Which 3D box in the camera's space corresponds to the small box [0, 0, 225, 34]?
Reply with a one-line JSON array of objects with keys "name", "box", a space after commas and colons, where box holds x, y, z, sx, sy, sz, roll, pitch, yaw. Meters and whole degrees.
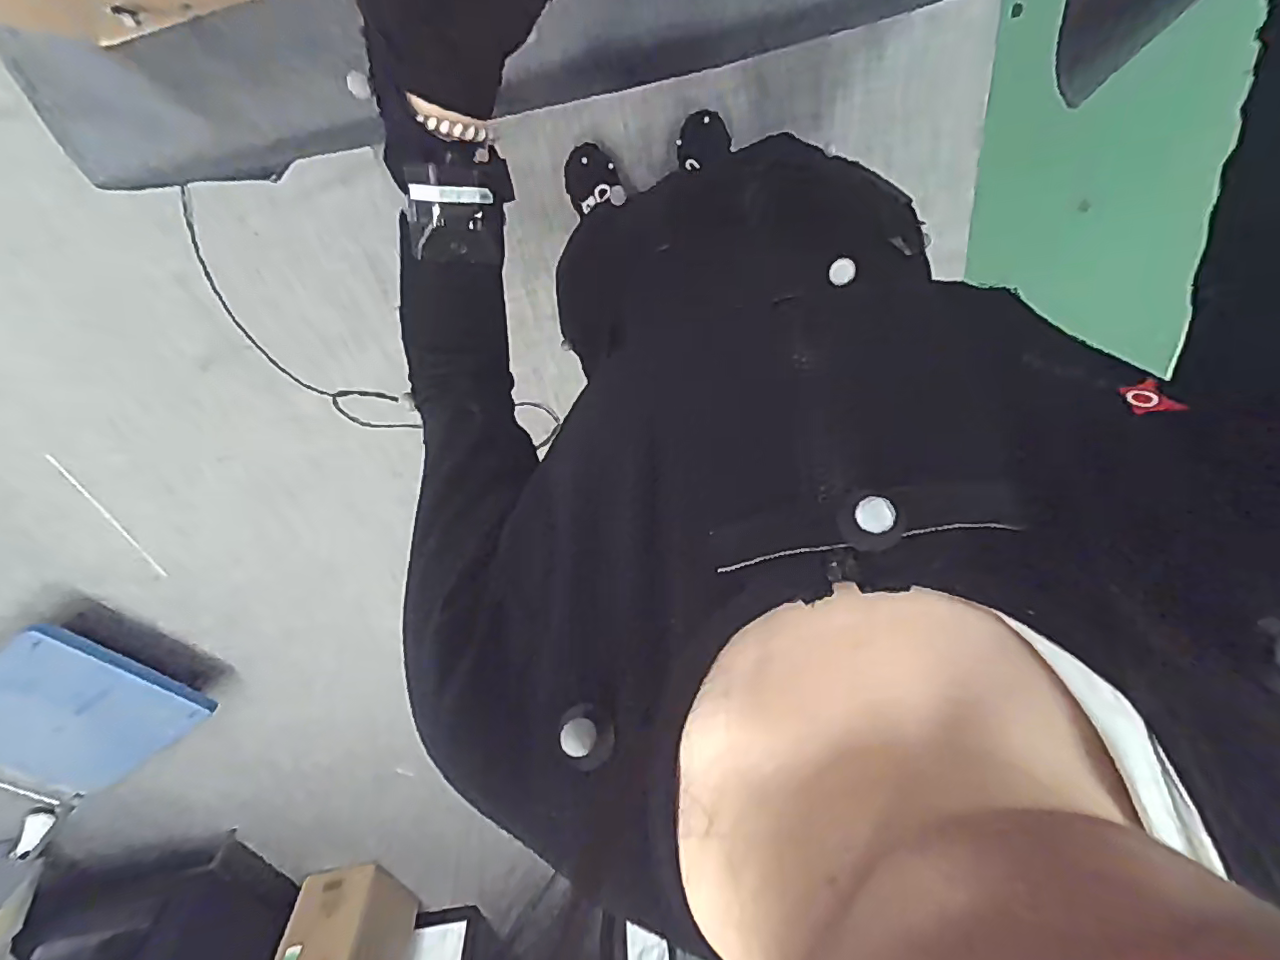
[{"name": "small box", "box": [-0.428, -0.448, 0.372, 0.168, 0.176, 0.179, -14, 123, 4]}]
